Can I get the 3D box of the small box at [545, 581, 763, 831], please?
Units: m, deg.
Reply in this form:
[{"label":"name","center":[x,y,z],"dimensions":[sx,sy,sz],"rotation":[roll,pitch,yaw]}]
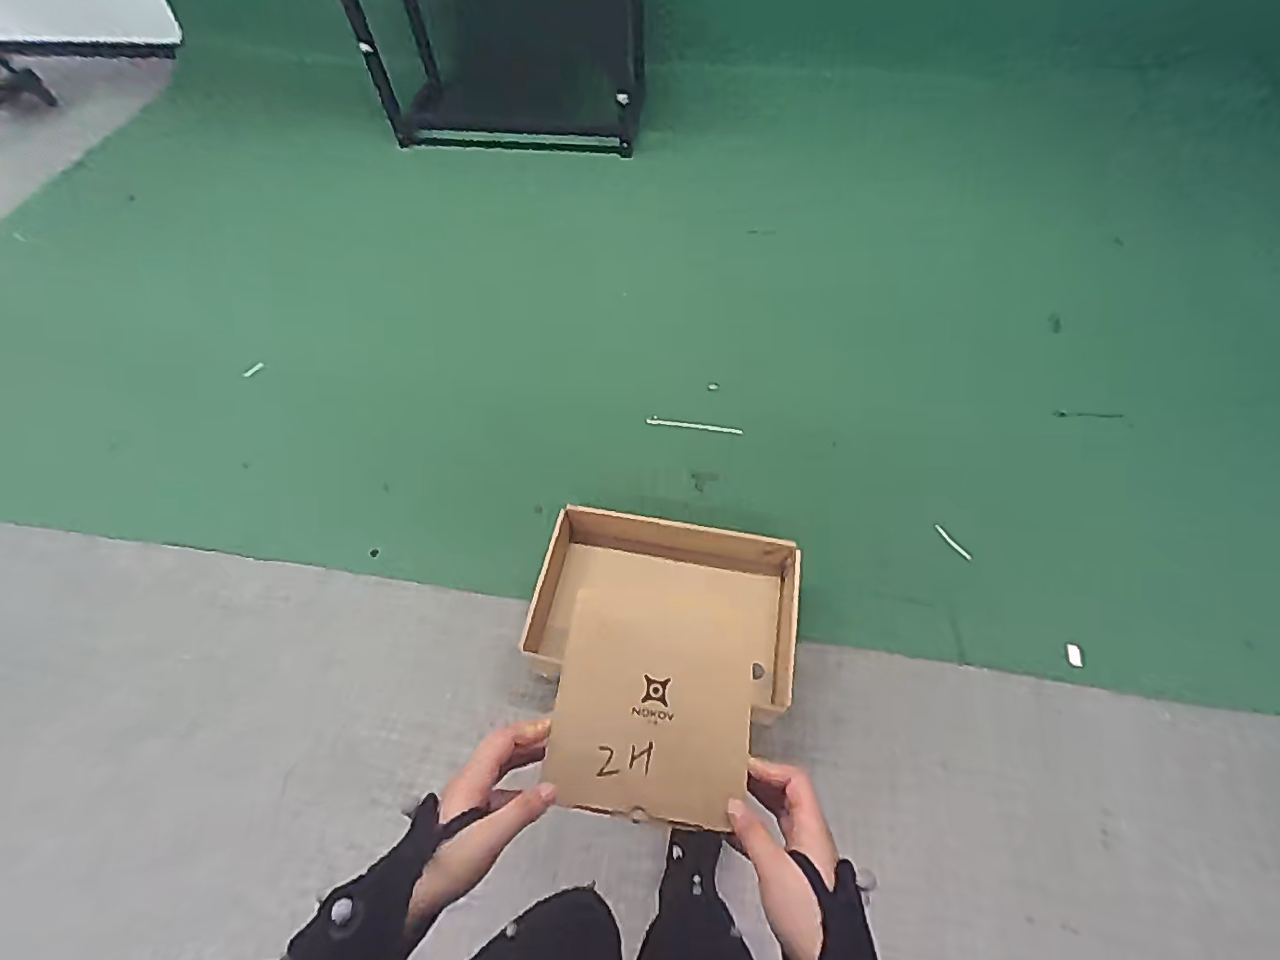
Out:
[{"label":"small box","center":[0.016,0.215,0.527],"dimensions":[0.168,0.176,0.179],"rotation":[8,65,3]}]
